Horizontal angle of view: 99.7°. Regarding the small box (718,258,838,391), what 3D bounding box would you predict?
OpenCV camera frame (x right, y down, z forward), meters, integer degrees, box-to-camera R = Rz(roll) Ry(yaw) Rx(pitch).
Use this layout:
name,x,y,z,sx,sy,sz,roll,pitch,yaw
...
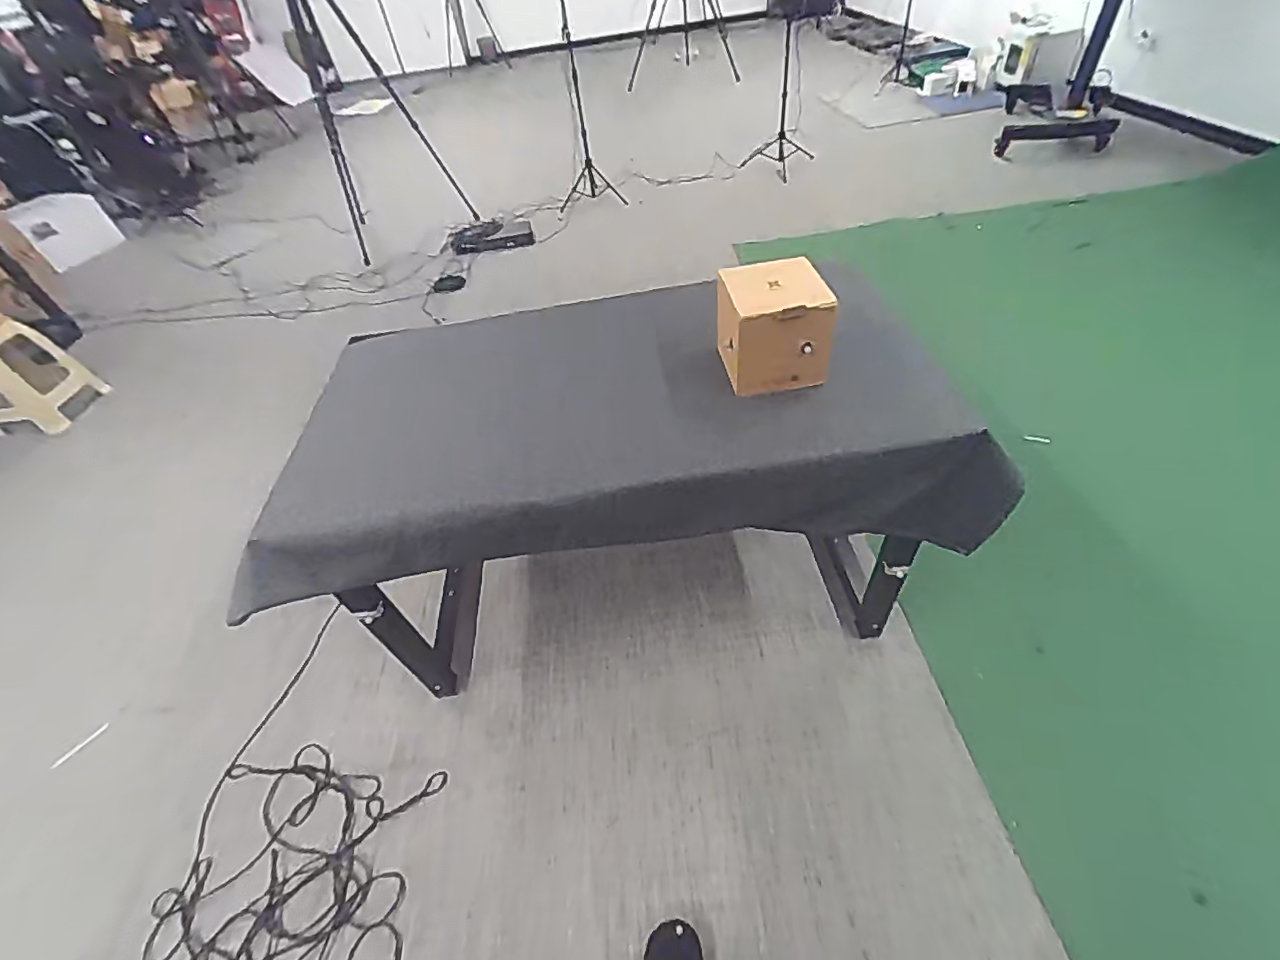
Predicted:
name,x,y,z,sx,sy,sz,roll,pitch,yaw
small box,0.240,-0.276,0.983,0.168,0.176,0.179,-9,45,-1
